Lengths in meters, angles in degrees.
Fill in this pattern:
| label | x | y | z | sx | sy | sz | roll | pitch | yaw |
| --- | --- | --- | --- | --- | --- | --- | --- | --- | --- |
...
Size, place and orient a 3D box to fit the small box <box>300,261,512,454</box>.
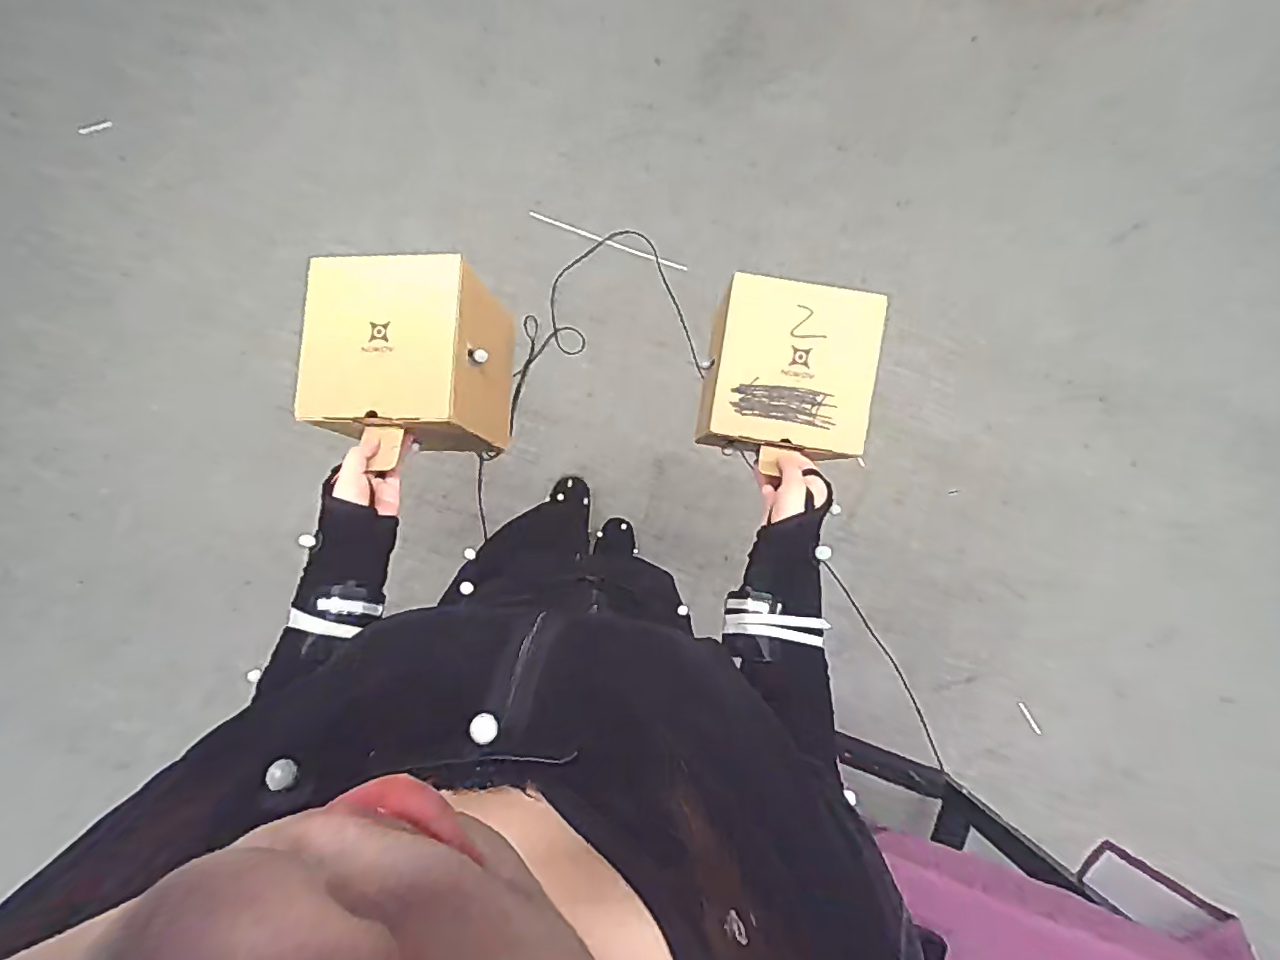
| label | x | y | z | sx | sy | sz | roll | pitch | yaw |
| --- | --- | --- | --- | --- | --- | --- | --- | --- | --- |
| small box | -0.258 | -0.134 | 0.637 | 0.168 | 0.176 | 0.179 | 1 | 83 | 5 |
